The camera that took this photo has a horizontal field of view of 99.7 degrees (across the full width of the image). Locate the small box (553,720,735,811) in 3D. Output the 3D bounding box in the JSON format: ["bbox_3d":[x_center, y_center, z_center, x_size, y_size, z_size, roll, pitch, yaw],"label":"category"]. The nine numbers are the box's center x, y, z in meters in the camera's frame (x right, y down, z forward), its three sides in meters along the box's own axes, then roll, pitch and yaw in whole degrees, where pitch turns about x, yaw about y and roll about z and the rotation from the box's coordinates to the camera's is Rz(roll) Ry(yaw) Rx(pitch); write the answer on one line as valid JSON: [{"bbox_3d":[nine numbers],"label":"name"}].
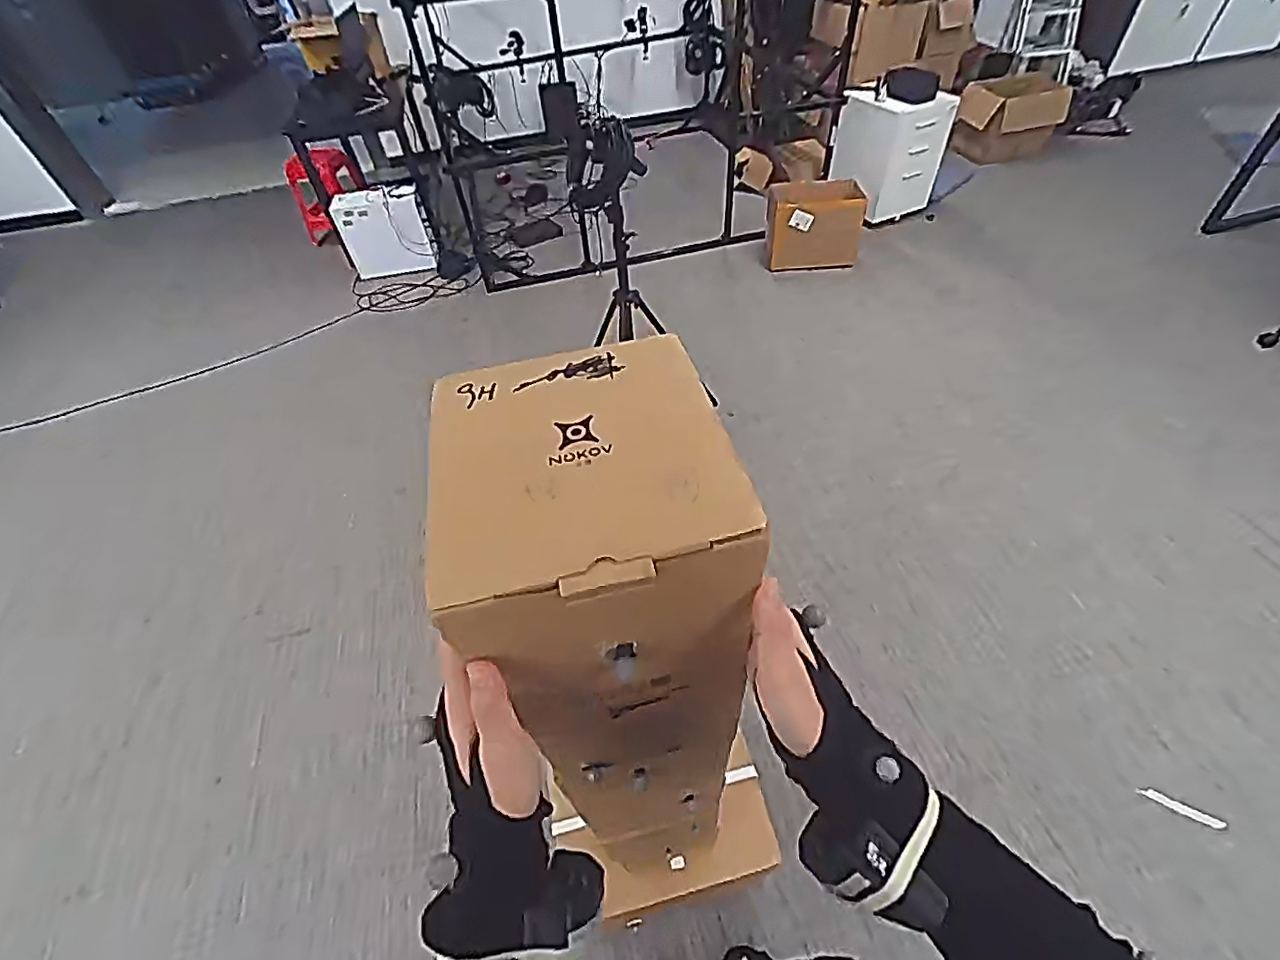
[{"bbox_3d":[-0.005,0.254,0.615,0.179,0.176,0.168,-12,49,-5],"label":"small box"}]

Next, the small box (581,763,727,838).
[{"bbox_3d":[0.006,0.362,0.734,0.179,0.176,0.168,-12,48,-5],"label":"small box"}]

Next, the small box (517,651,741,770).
[{"bbox_3d":[-0.015,0.144,0.492,0.168,0.176,0.179,-11,48,-5],"label":"small box"}]

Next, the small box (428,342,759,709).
[{"bbox_3d":[-0.031,0.038,0.369,0.168,0.176,0.179,-12,50,-6],"label":"small box"}]

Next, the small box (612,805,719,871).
[{"bbox_3d":[0.032,0.581,0.978,0.179,0.176,0.168,-14,50,-8],"label":"small box"}]
